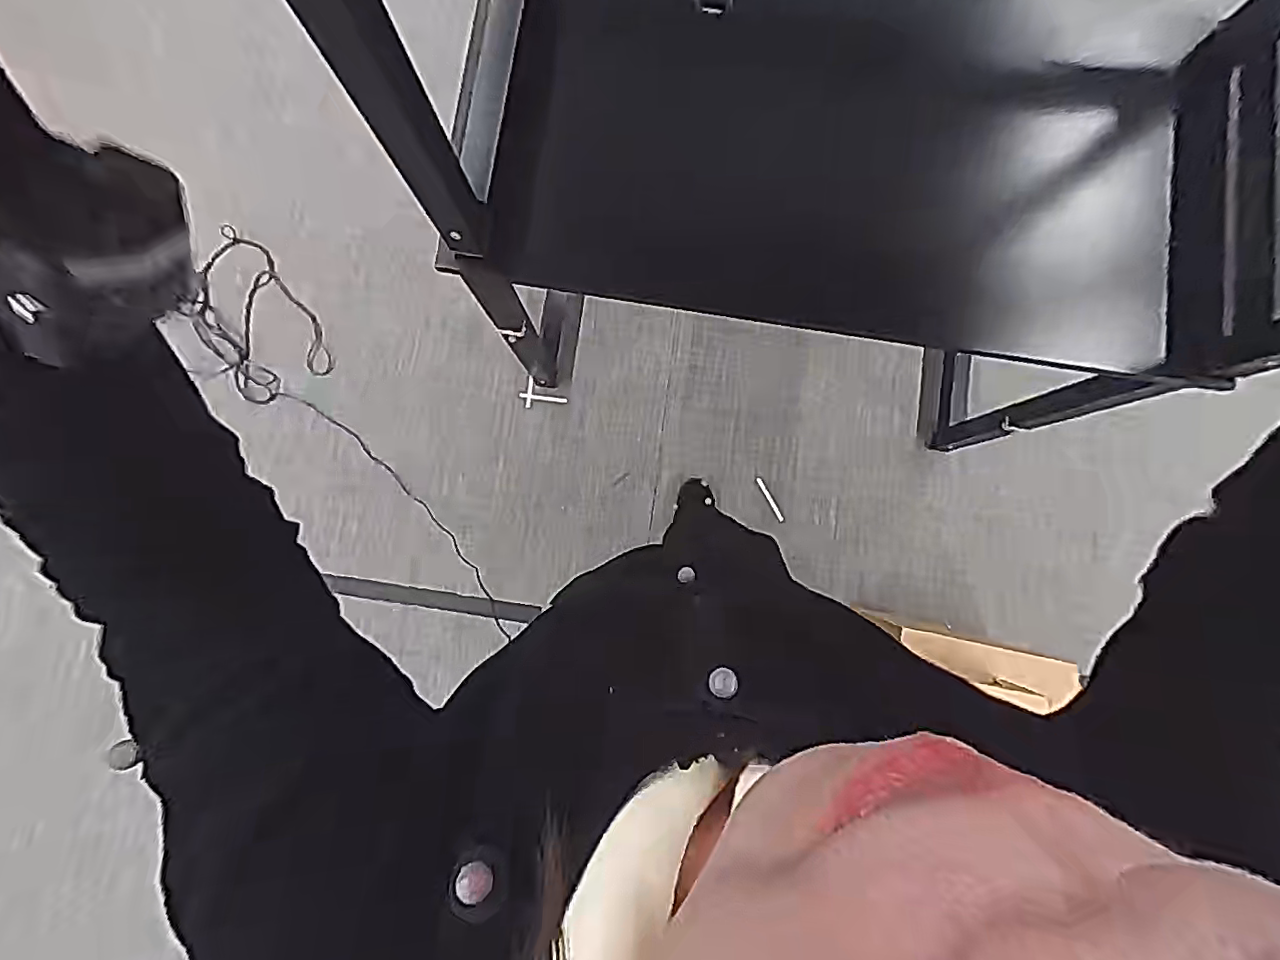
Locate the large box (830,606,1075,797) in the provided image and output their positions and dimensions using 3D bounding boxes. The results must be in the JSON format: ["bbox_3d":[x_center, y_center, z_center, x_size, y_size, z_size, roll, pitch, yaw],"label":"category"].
[{"bbox_3d":[0.733,0.513,1.325,0.408,0.320,0.320,12,86,0],"label":"large box"}]

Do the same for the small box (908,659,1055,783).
[{"bbox_3d":[0.673,0.471,1.081,0.179,0.176,0.168,12,83,1],"label":"small box"}]
